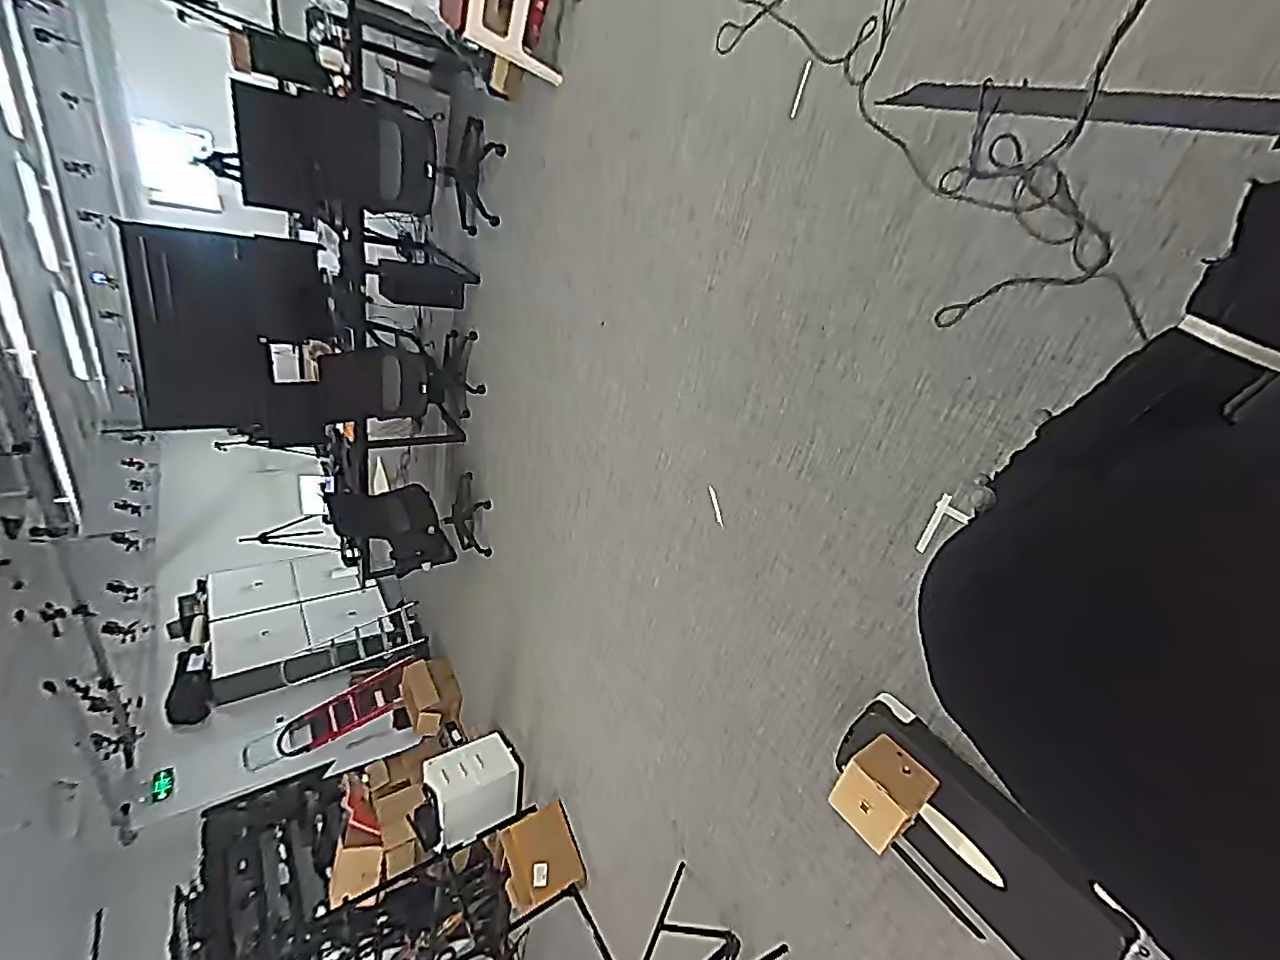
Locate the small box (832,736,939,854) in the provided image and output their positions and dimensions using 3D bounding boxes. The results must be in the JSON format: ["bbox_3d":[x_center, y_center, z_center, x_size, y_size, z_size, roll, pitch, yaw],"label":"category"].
[{"bbox_3d":[0.641,0.815,1.411,0.168,0.176,0.179,39,126,42],"label":"small box"}]
